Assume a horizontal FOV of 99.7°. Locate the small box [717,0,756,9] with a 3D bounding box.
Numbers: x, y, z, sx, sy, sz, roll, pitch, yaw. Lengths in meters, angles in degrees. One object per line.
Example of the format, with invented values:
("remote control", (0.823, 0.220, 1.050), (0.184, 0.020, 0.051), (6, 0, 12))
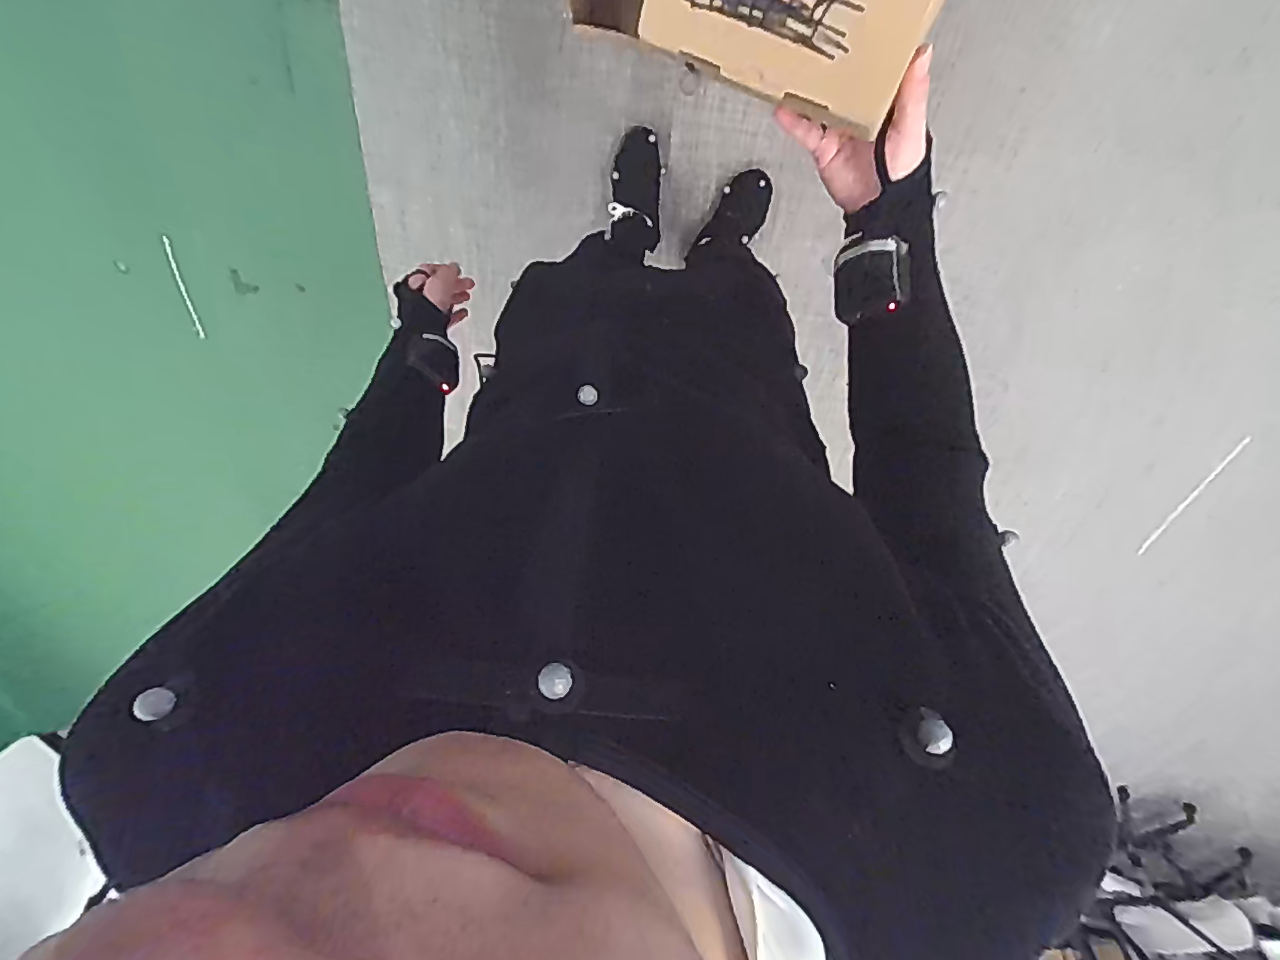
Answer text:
("small box", (0.078, -0.628, 0.561), (0.168, 0.176, 0.179), (16, 126, -5))
